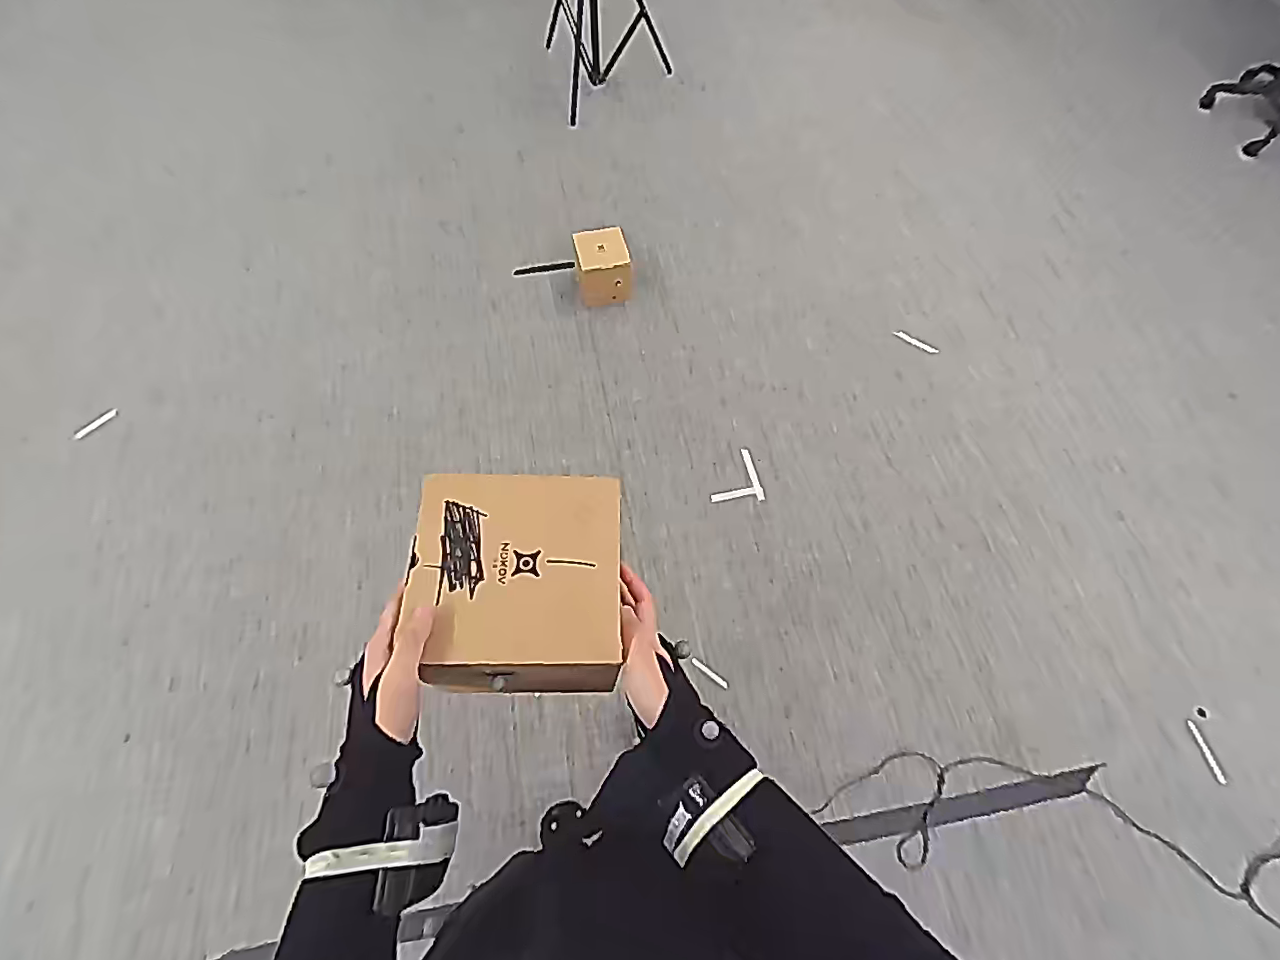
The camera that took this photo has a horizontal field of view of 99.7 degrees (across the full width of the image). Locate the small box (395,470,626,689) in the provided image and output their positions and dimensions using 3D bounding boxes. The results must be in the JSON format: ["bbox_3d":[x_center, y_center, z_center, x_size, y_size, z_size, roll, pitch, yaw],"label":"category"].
[{"bbox_3d":[-0.105,0.104,0.518,0.179,0.176,0.168,2,62,-5],"label":"small box"}]
